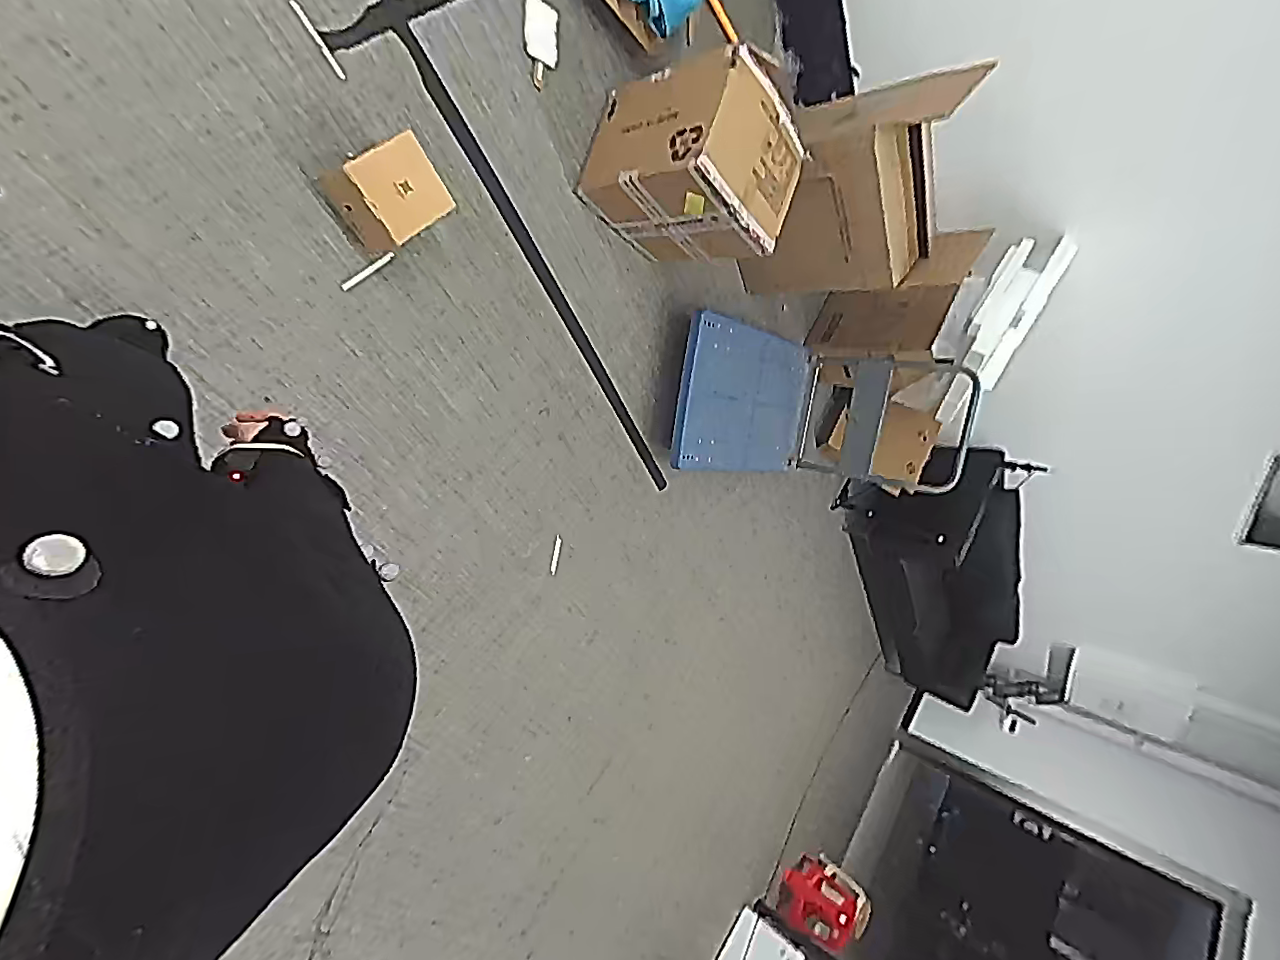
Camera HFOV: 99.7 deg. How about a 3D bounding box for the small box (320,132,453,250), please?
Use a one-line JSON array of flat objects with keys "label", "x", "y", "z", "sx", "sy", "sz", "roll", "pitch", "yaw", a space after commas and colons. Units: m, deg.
[{"label": "small box", "x": -0.558, "y": -0.629, "z": 1.188, "sx": 0.179, "sy": 0.176, "sz": 0.168, "roll": -50, "pitch": 133, "yaw": -24}]
